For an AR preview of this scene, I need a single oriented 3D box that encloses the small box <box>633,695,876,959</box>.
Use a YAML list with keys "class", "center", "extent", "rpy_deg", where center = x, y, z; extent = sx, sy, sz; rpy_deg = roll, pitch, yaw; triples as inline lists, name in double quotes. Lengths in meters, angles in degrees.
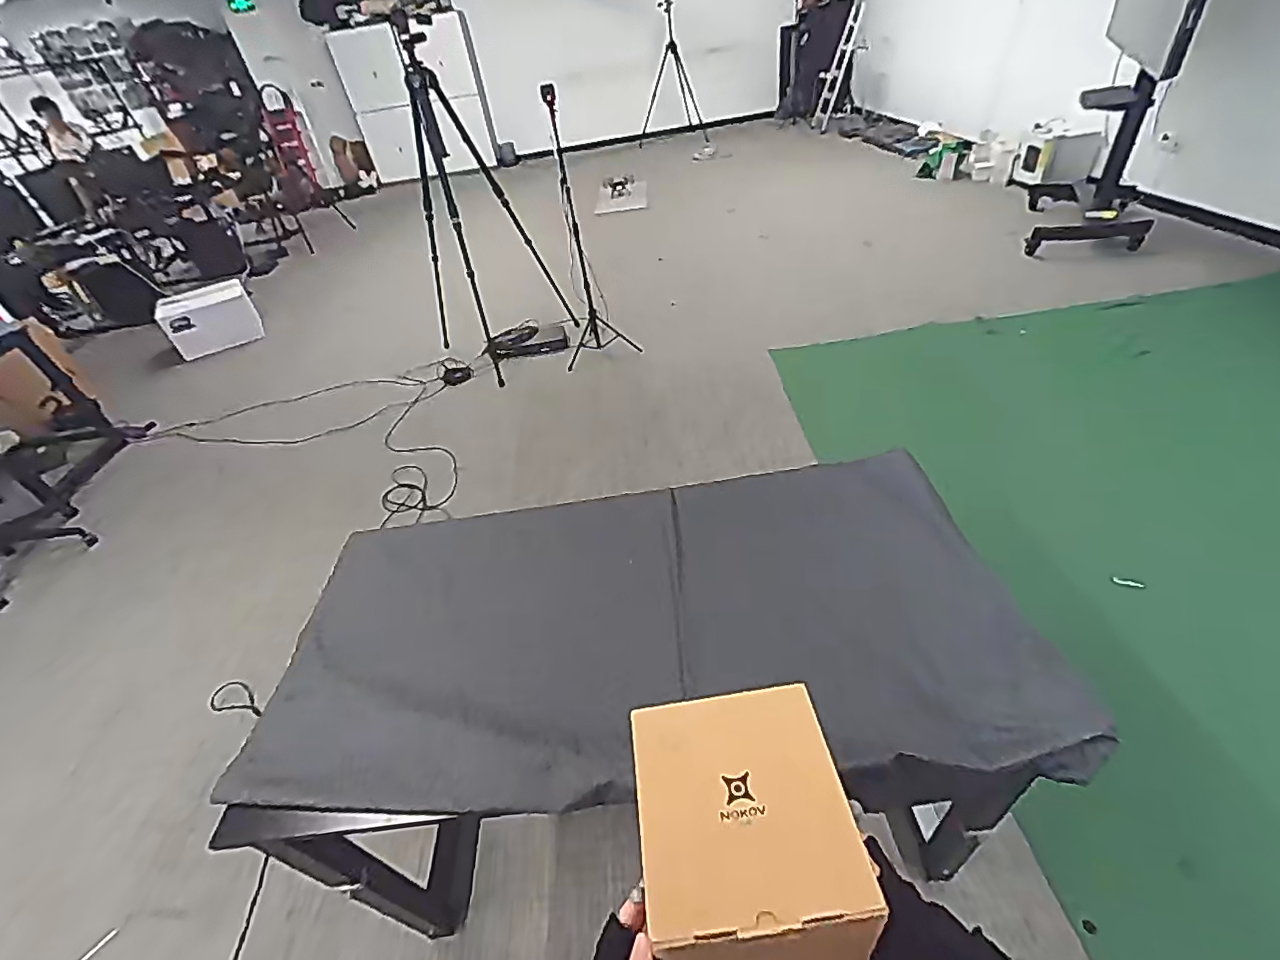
- class: "small box"
  center: [0.088, 0.329, 0.492]
  extent: [0.168, 0.176, 0.179]
  rpy_deg: [-9, 37, 0]
